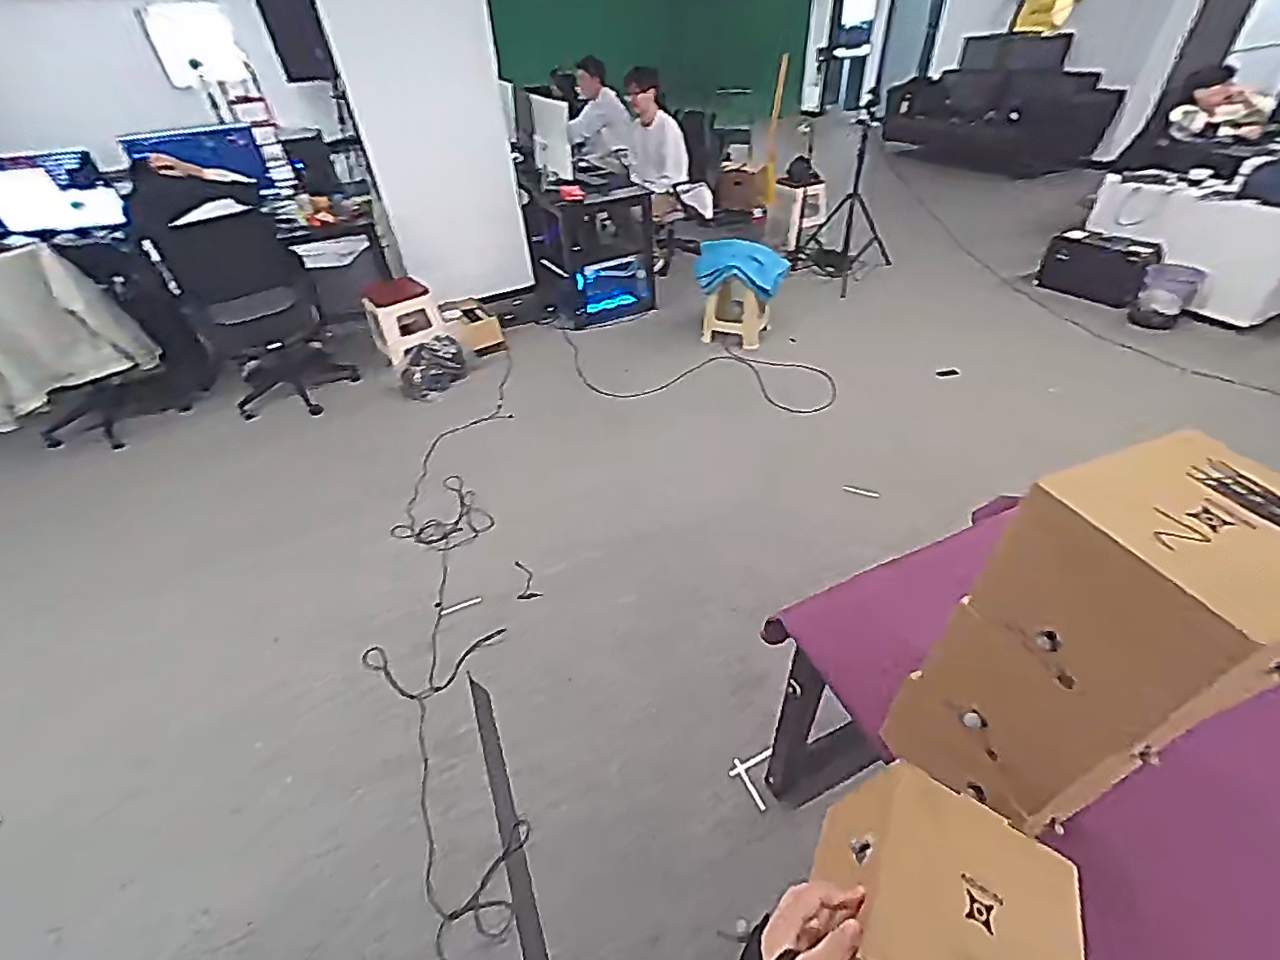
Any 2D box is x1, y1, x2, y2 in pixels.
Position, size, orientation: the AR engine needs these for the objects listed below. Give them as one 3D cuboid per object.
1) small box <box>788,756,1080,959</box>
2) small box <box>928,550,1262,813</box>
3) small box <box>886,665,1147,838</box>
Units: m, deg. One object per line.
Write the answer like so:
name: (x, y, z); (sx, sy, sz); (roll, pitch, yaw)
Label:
small box: (0.257, 0.403, 0.494); (0.168, 0.176, 0.179); (29, 44, 14)
small box: (0.442, 0.207, 0.562); (0.179, 0.176, 0.168); (-17, 42, -12)
small box: (0.442, 0.331, 0.670); (0.168, 0.176, 0.179); (-15, 42, -13)
